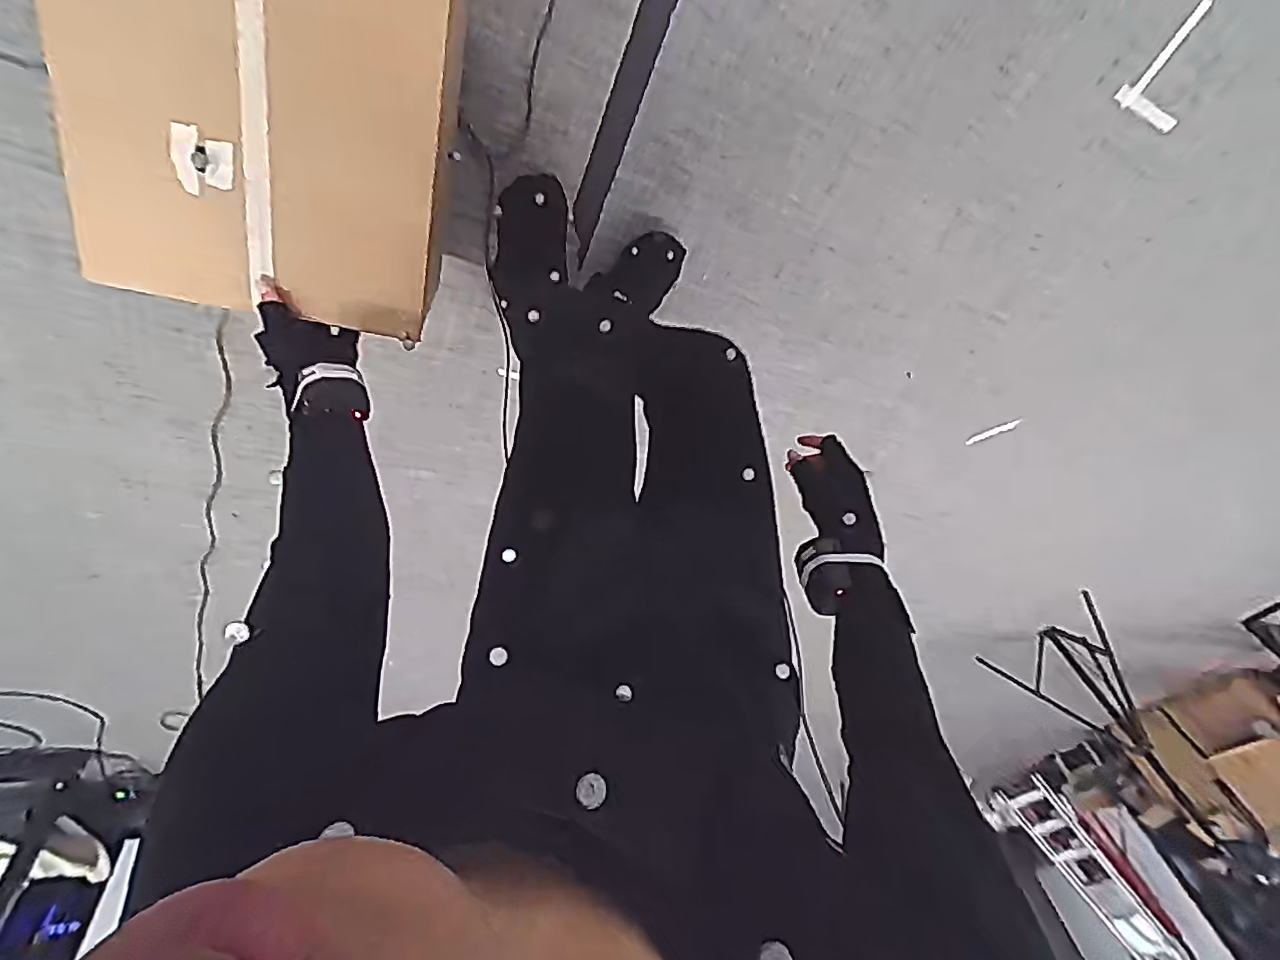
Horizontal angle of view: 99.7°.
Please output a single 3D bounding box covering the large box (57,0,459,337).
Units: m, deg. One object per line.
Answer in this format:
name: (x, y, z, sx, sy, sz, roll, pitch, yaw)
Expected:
large box: (-0.396, -0.430, 0.647, 0.320, 0.320, 0.408, 7, 115, -19)
